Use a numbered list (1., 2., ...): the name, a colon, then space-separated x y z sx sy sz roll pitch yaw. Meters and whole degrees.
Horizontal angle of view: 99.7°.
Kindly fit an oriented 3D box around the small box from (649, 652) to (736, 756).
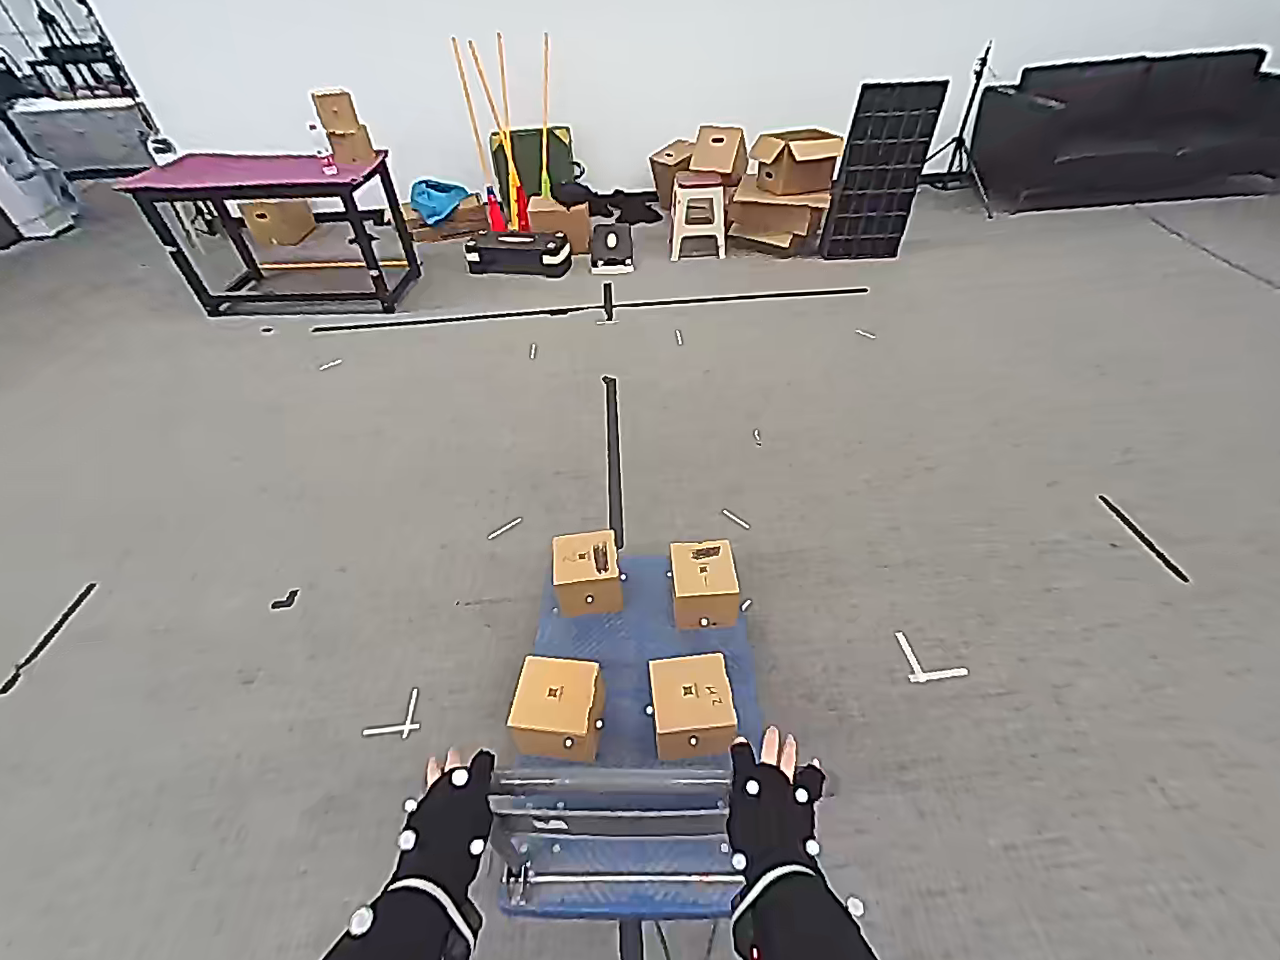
1. small box: 0.119 0.525 1.260 0.179 0.176 0.168 -5 44 -2

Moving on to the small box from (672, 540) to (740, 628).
1. small box: 0.176 0.289 1.498 0.168 0.176 0.179 -3 45 0

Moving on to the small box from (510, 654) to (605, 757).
1. small box: -0.185 0.532 1.270 0.179 0.176 0.168 4 44 5
